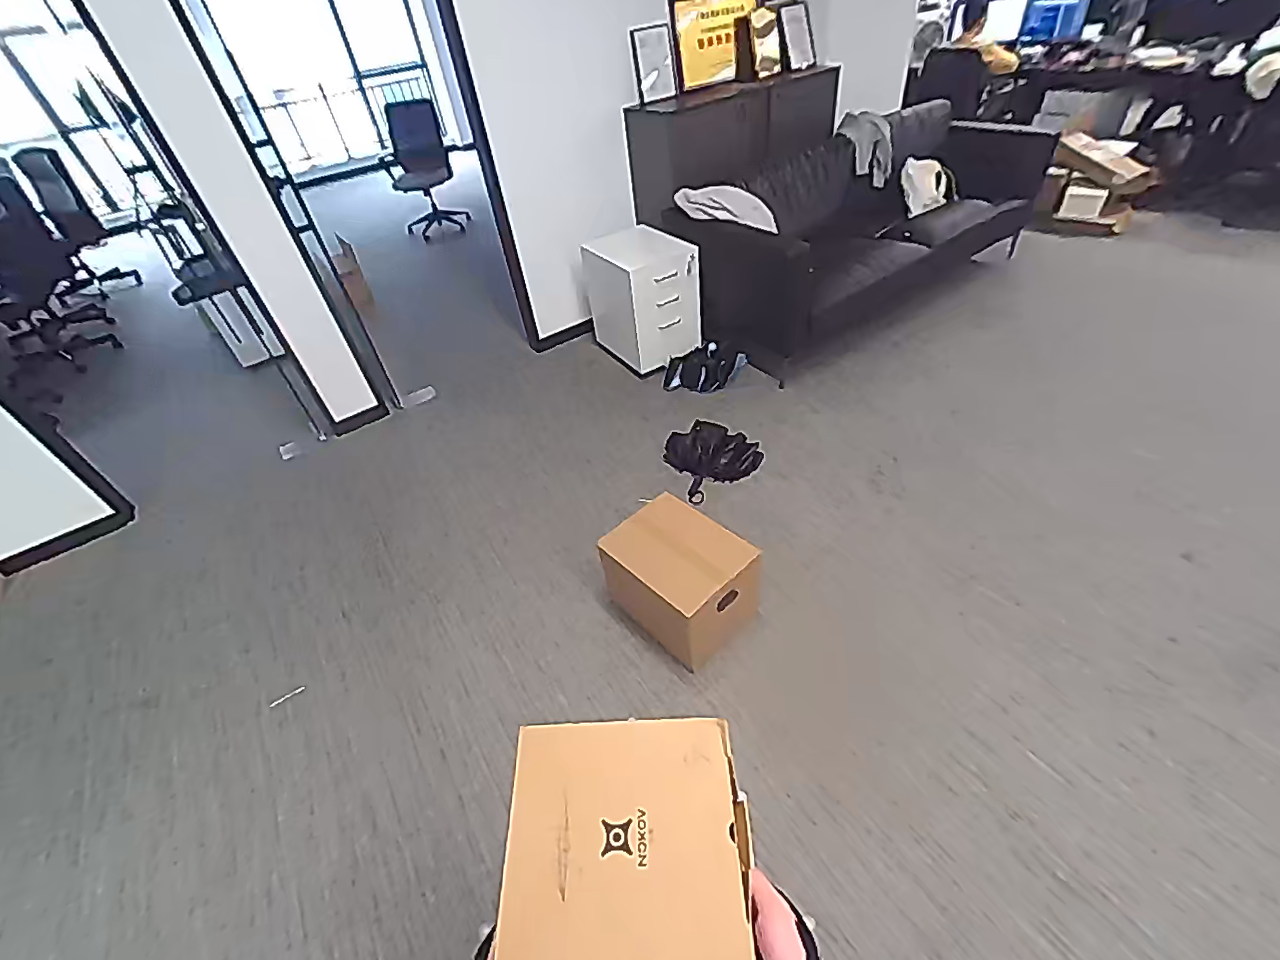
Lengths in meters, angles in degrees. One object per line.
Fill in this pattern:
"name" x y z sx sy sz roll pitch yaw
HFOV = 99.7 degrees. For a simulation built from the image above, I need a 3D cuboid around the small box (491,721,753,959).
"small box" -0.009 0.319 0.461 0.179 0.176 0.168 -5 48 3
